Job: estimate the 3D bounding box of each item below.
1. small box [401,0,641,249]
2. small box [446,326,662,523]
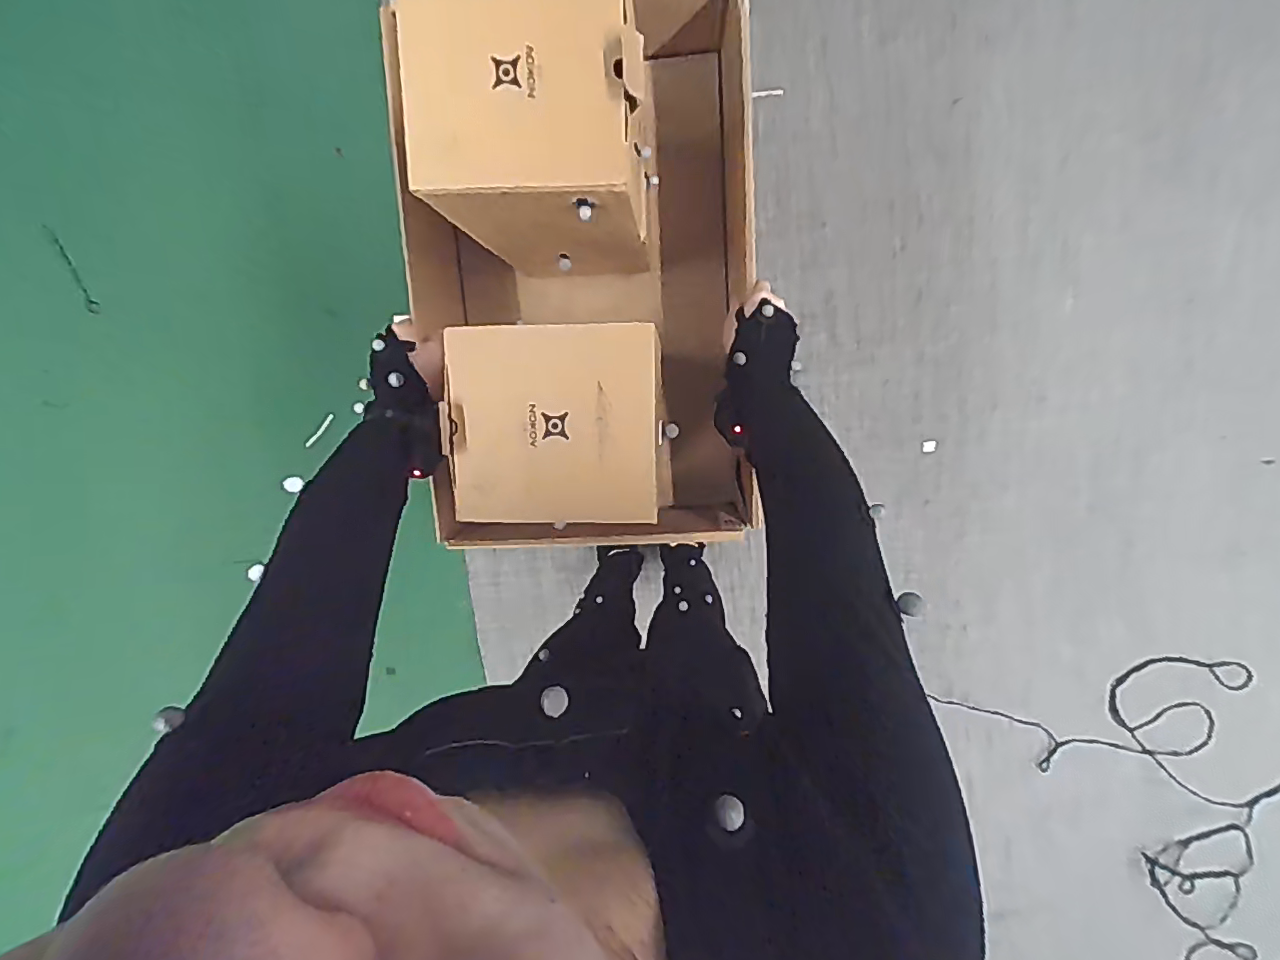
[{"bbox_3d":[-0.091,-0.317,0.493,0.179,0.176,0.168,0,99,2],"label":"small box"},{"bbox_3d":[-0.069,-0.057,0.534,0.179,0.176,0.168,-1,100,3],"label":"small box"}]
